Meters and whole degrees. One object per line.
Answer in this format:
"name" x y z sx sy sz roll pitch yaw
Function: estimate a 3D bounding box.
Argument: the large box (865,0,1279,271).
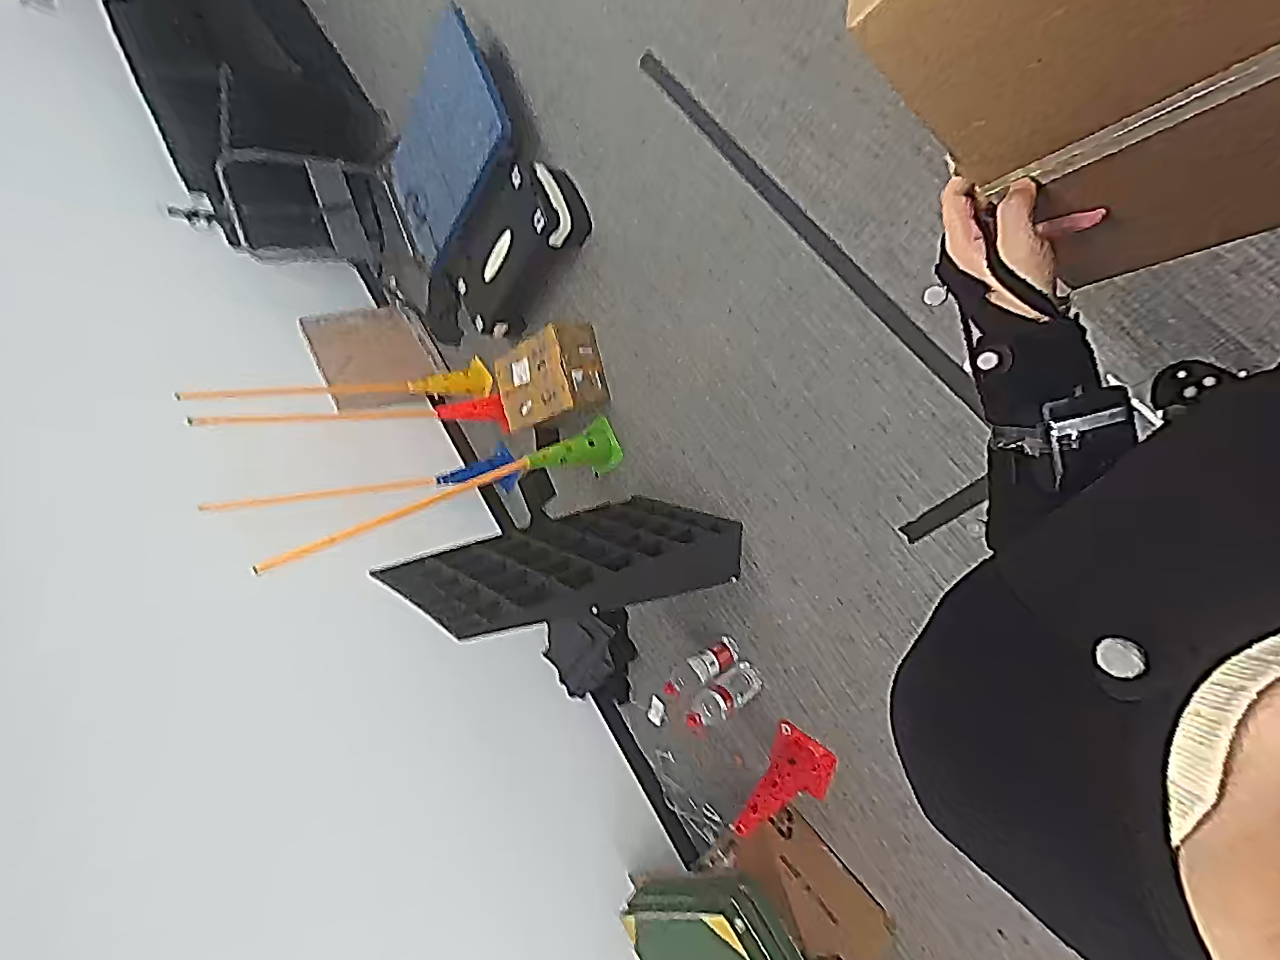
"large box" 0.368 -0.368 0.232 0.408 0.320 0.320 -9 71 54
